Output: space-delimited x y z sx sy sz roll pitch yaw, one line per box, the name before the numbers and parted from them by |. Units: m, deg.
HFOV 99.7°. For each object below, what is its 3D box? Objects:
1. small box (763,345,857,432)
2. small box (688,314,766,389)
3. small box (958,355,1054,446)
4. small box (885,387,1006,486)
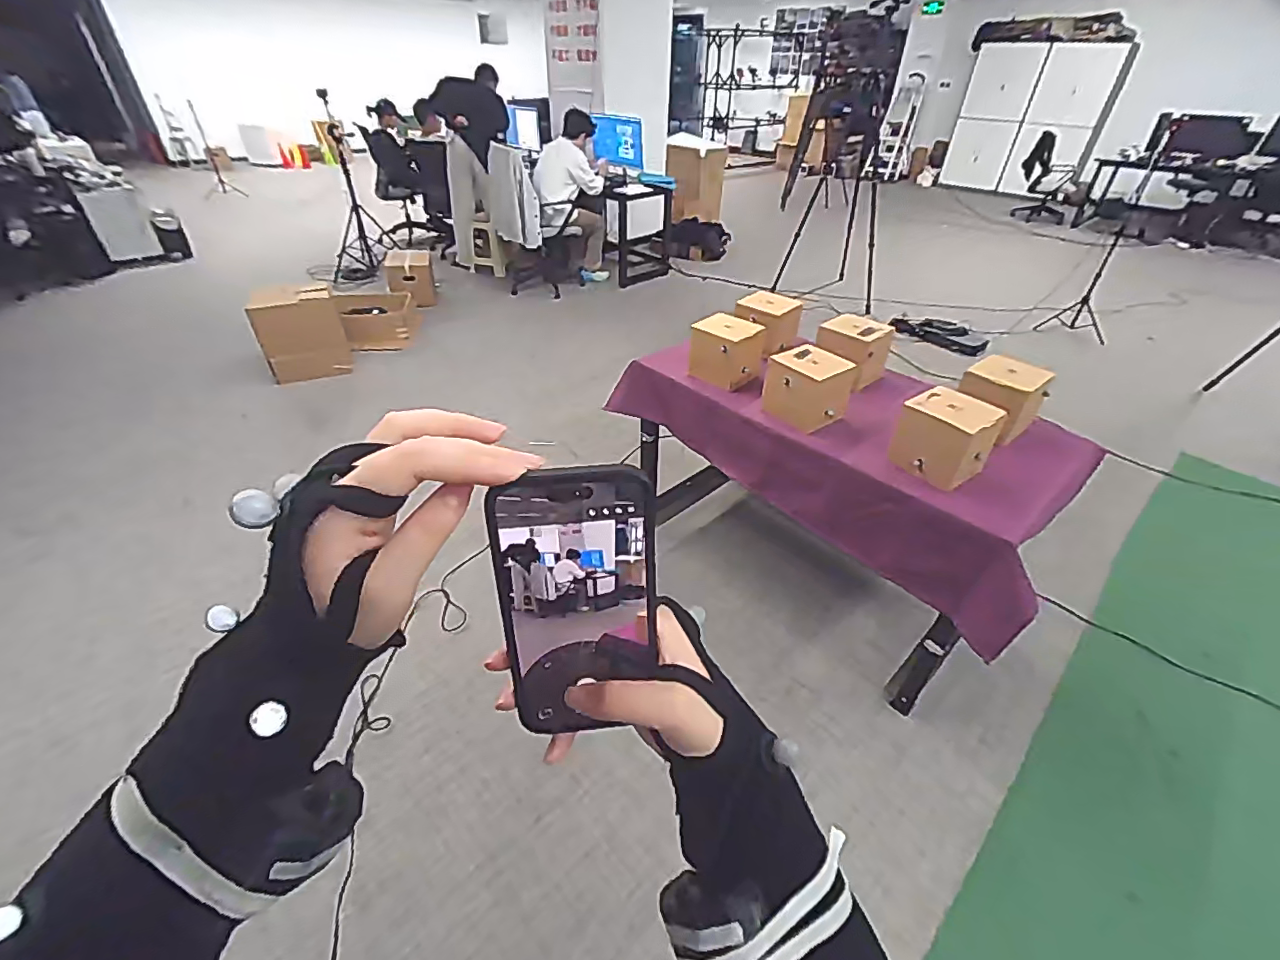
small box | 0.472 -0.259 1.531 0.168 0.176 0.179 -24 45 -29
small box | 0.270 -0.408 1.719 0.179 0.176 0.168 30 45 30
small box | 0.988 -0.221 1.497 0.179 0.176 0.168 -26 45 -30
small box | 0.746 -0.103 1.336 0.168 0.176 0.179 -22 44 -28
